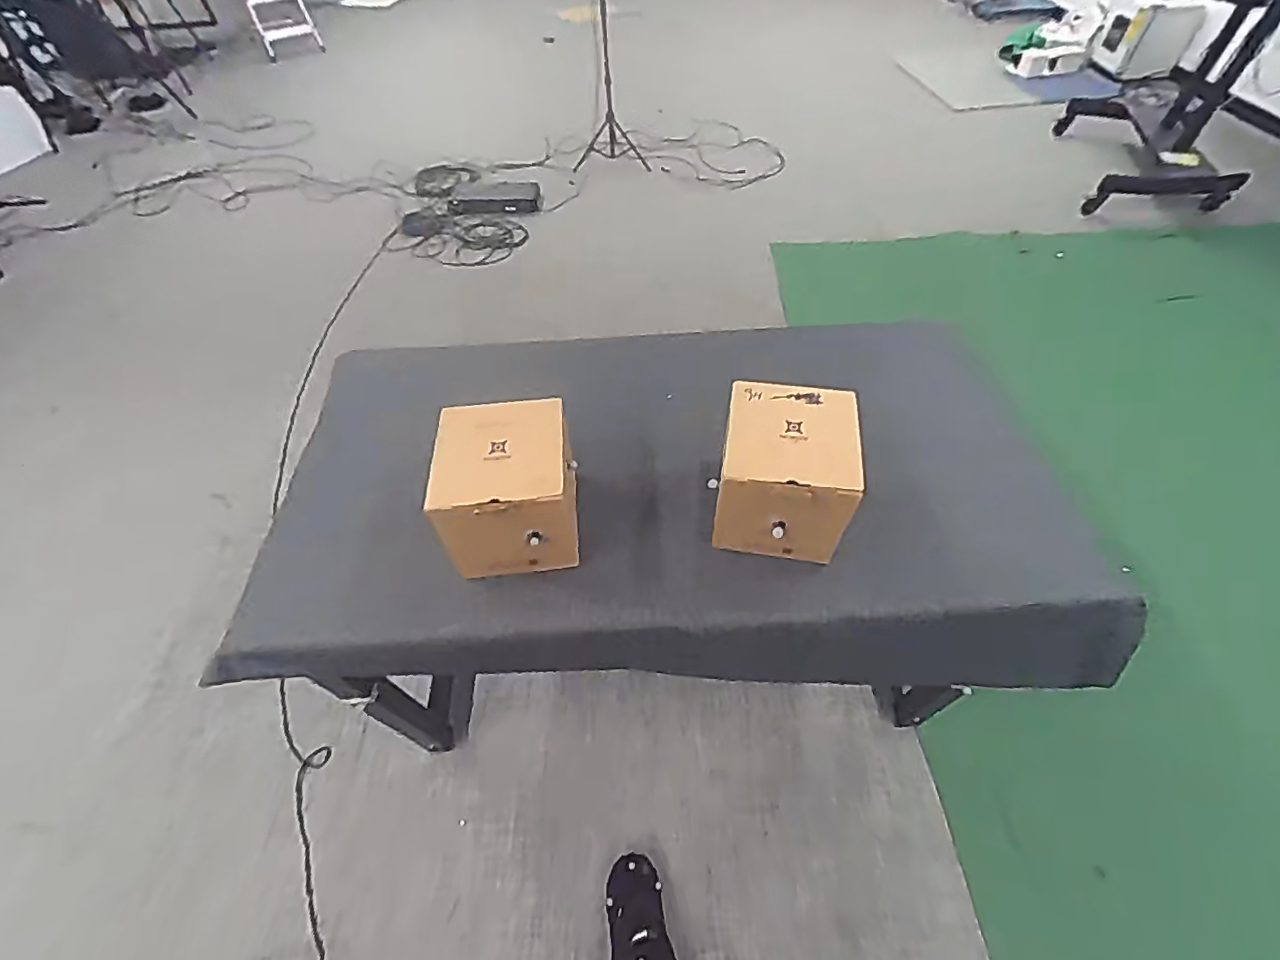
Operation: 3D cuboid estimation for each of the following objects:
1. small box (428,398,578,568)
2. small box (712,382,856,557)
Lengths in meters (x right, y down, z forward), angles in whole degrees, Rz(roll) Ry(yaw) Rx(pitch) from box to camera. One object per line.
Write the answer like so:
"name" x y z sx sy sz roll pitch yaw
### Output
"small box" -0.179 0.011 0.758 0.168 0.176 0.179 -5 50 -4
"small box" 0.195 -0.011 0.762 0.168 0.176 0.179 8 53 7
